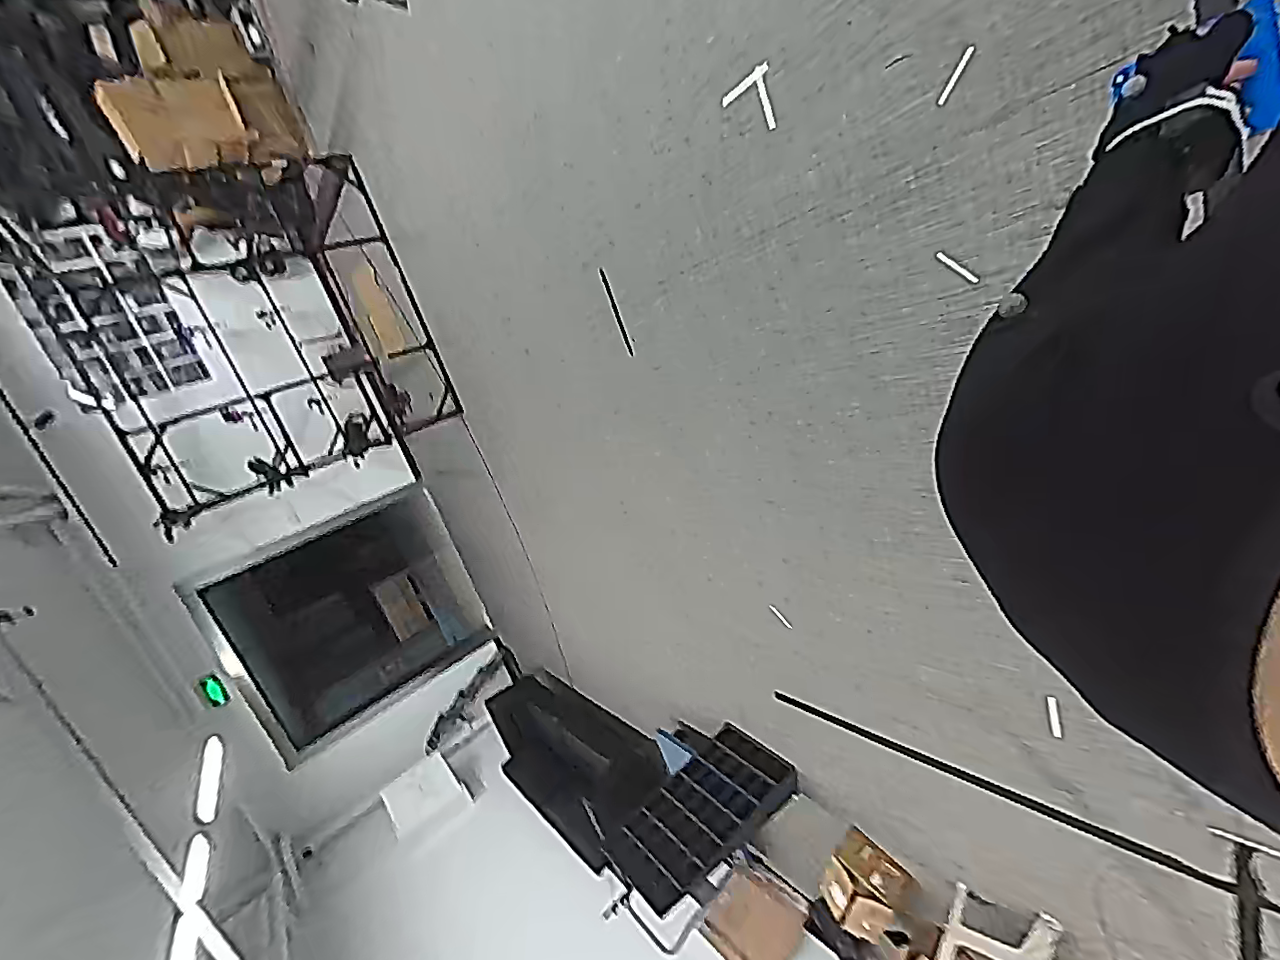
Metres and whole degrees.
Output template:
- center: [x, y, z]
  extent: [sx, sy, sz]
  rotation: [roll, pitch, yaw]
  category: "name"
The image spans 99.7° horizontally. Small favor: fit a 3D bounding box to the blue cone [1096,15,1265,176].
- center: [0.819, -0.598, 0.859]
  extent: [0.192, 0.380, 0.193]
  rotation: [-3, 111, 56]
  category: "blue cone"
